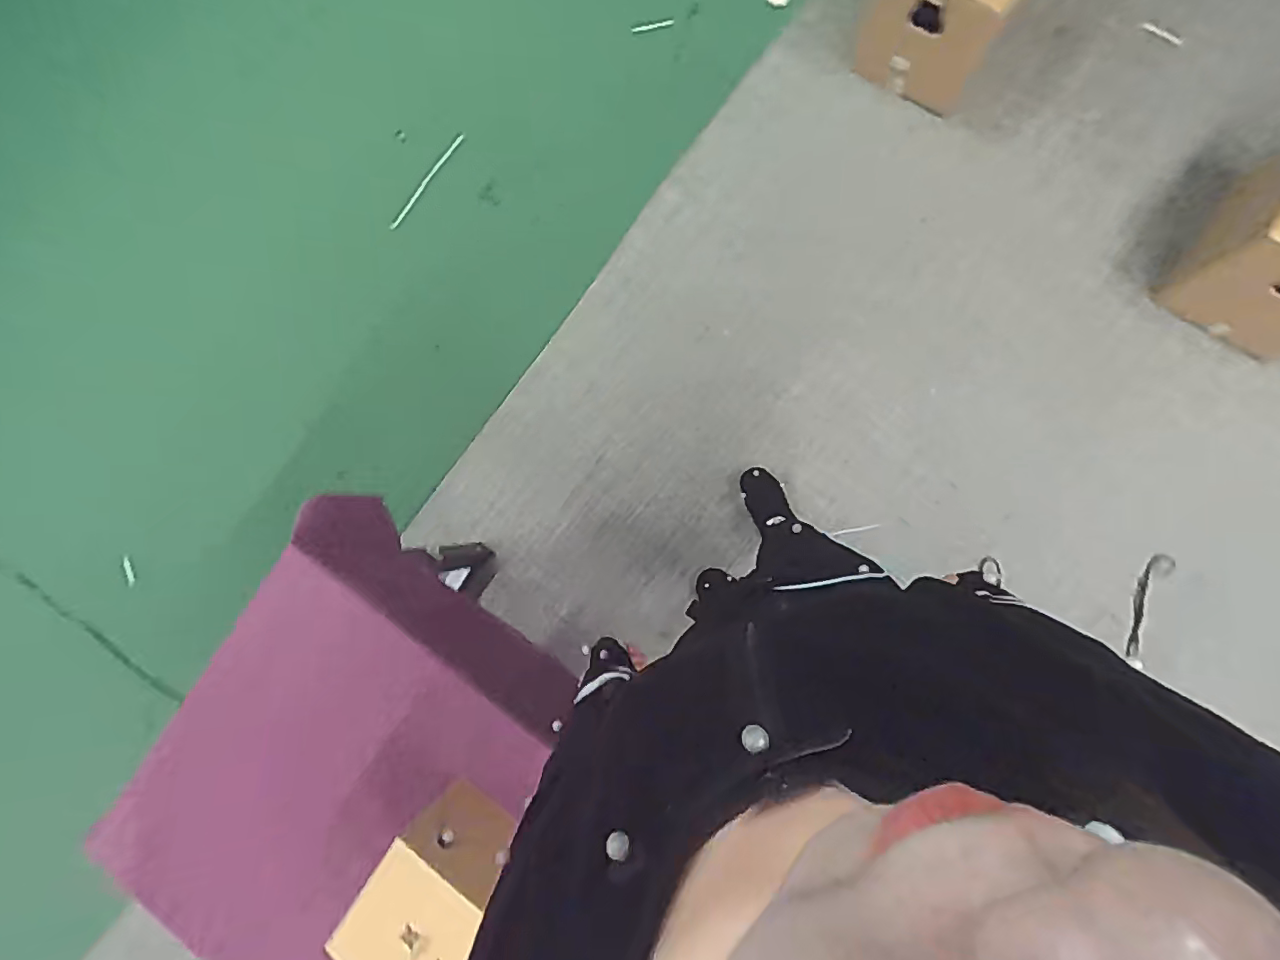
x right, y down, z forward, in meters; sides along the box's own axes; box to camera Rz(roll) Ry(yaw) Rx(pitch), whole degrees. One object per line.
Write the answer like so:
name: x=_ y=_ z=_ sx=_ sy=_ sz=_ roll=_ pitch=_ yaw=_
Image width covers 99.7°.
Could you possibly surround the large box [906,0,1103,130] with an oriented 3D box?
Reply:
large box: x=0.969 y=-1.220 z=1.372 sx=0.320 sy=0.320 sz=0.408 roll=41 pitch=90 yaw=10
